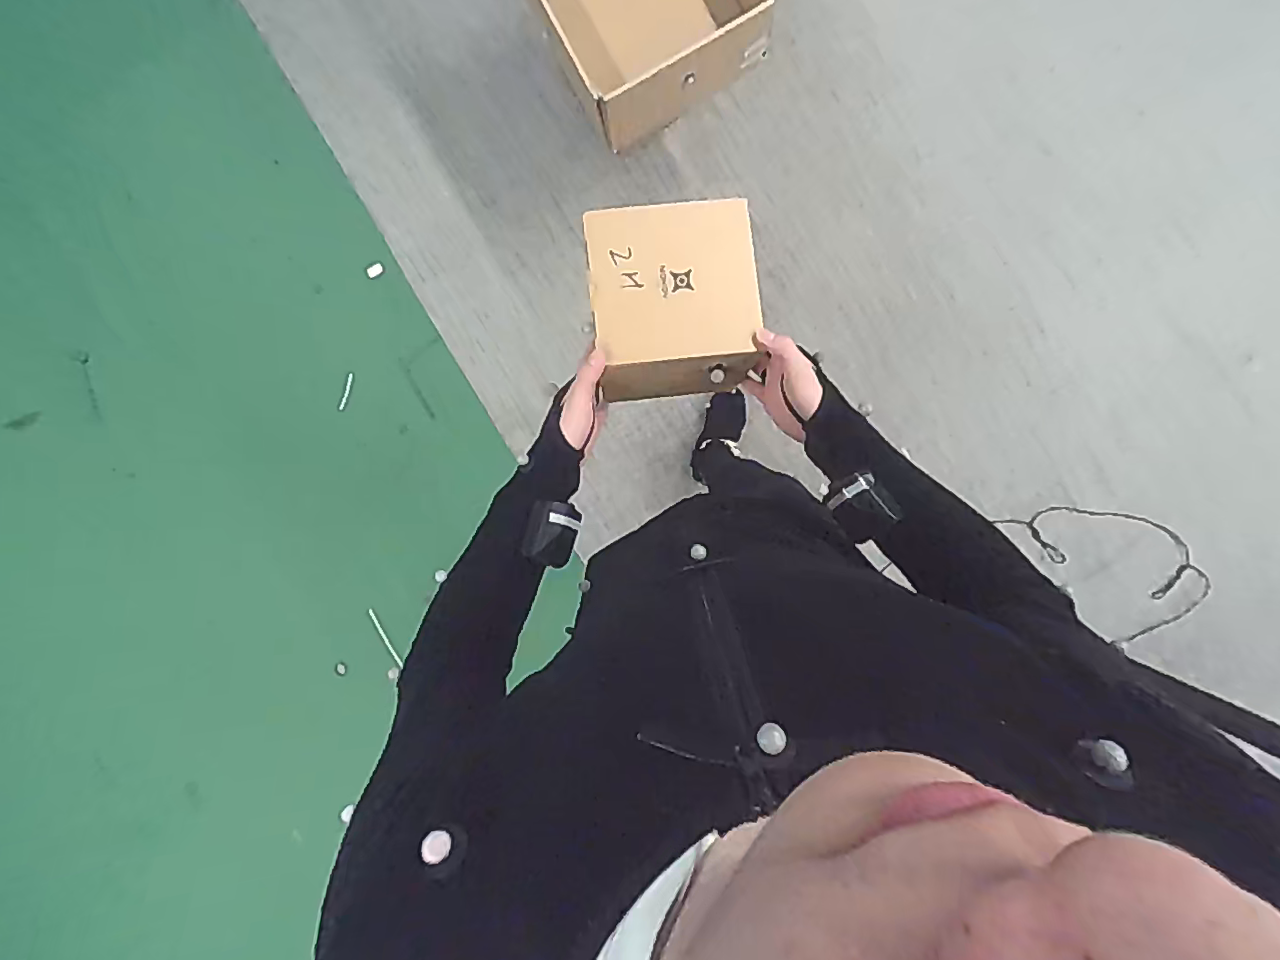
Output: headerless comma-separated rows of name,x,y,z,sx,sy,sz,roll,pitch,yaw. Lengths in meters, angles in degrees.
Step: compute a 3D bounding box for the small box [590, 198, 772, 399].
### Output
small box,0.038,-0.199,0.632,0.179,0.176,0.168,-7,85,-3
